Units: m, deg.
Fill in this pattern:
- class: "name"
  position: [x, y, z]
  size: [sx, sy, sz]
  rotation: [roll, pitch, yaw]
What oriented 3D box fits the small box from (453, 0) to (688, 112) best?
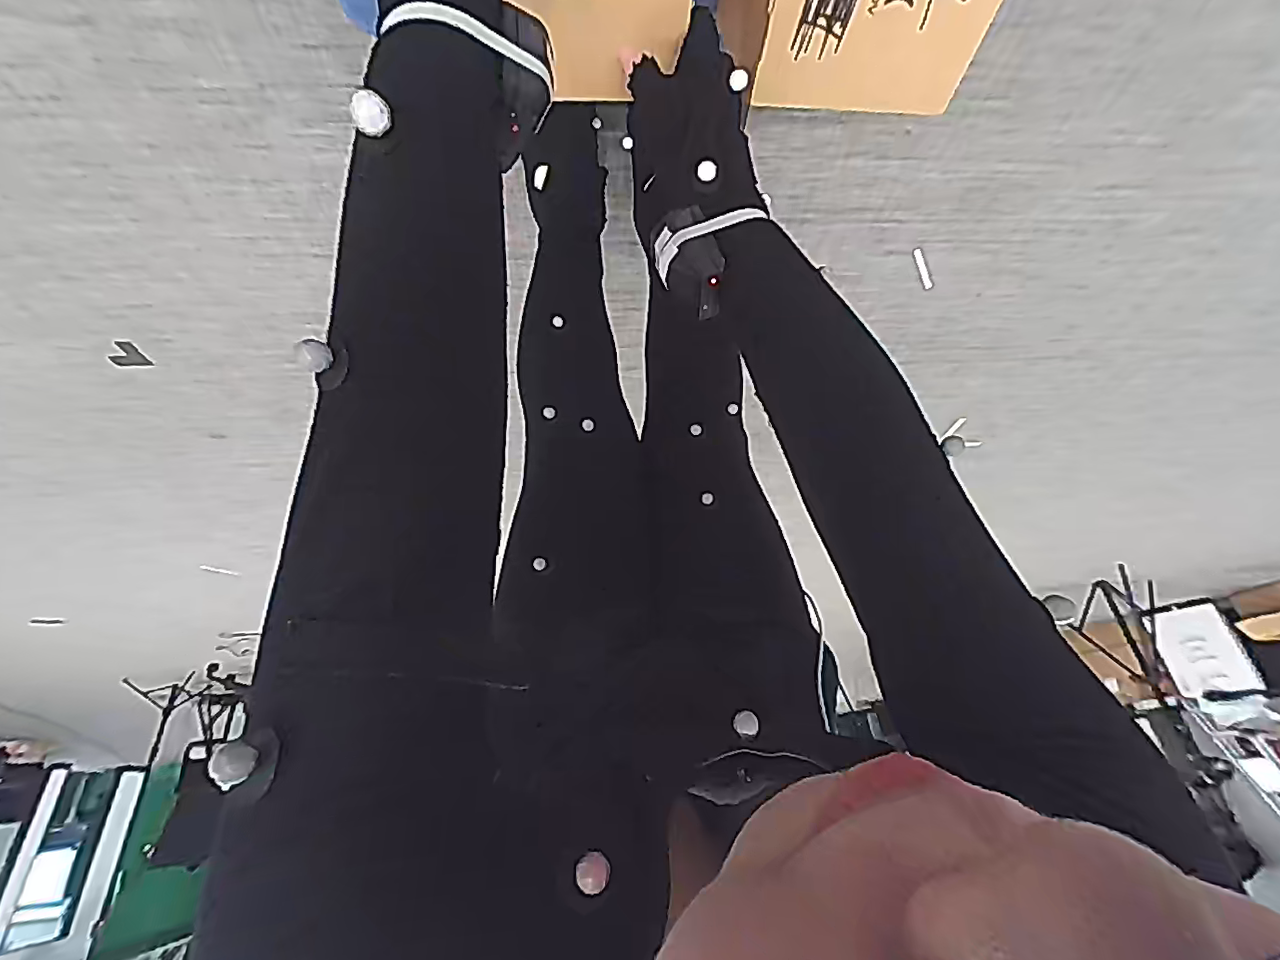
- class: "small box"
  position: [-0.051, -0.410, 0.399]
  size: [0.168, 0.176, 0.179]
  rotation: [-3, 149, -5]
